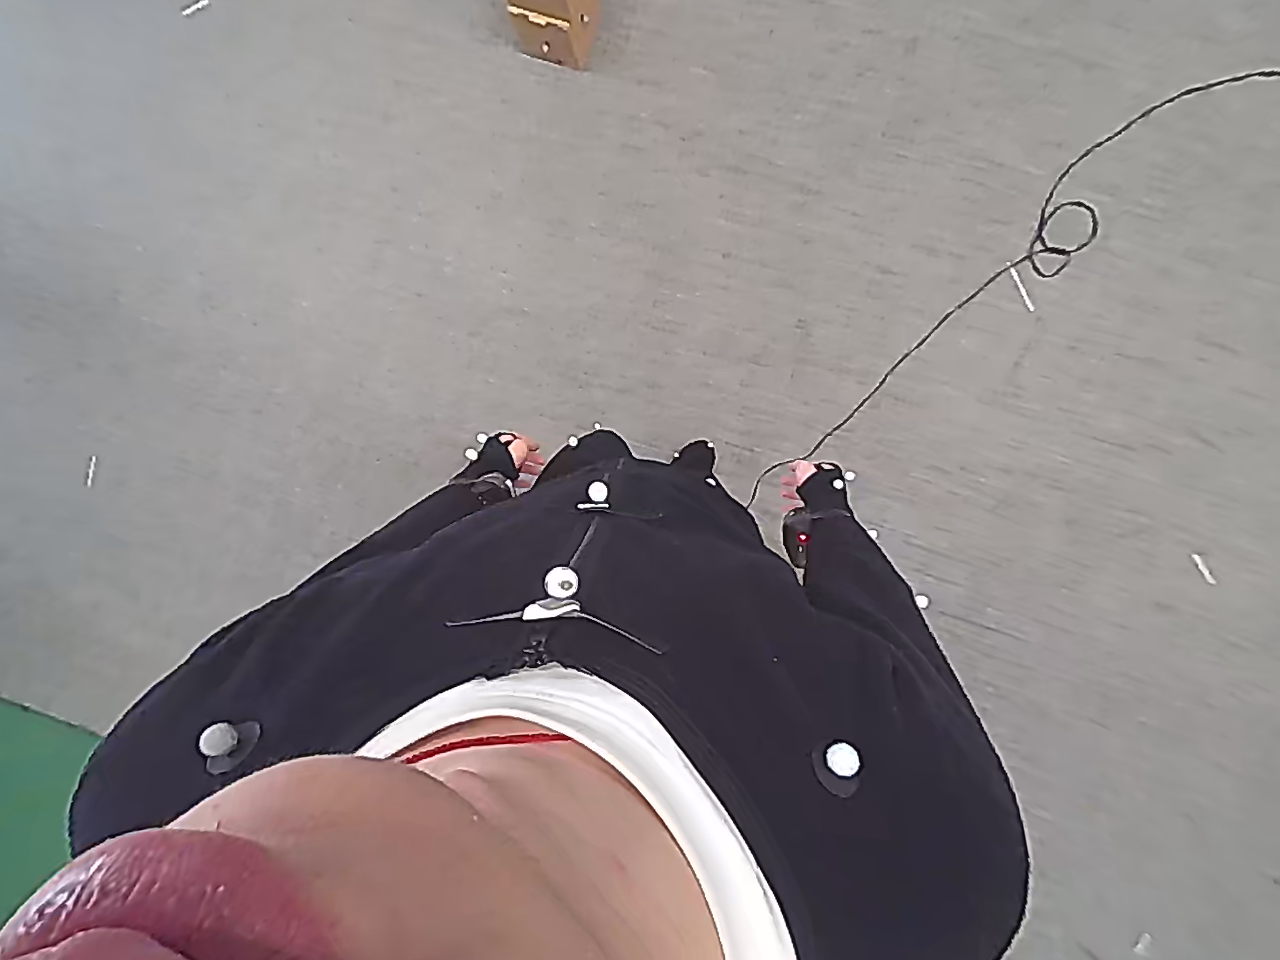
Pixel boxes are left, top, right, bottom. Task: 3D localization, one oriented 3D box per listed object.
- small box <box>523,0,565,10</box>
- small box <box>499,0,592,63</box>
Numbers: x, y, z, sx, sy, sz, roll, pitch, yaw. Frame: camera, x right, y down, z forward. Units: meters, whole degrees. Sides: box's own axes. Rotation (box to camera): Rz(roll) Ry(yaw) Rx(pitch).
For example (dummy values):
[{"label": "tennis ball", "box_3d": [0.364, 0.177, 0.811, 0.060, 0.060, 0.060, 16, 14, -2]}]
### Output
[{"label": "small box", "box_3d": [-0.238, -1.193, 1.187, 0.179, 0.176, 0.168, 19, 96, 3]}, {"label": "small box", "box_3d": [-0.231, -1.210, 1.368, 0.168, 0.176, 0.179, 18, 97, 4]}]
